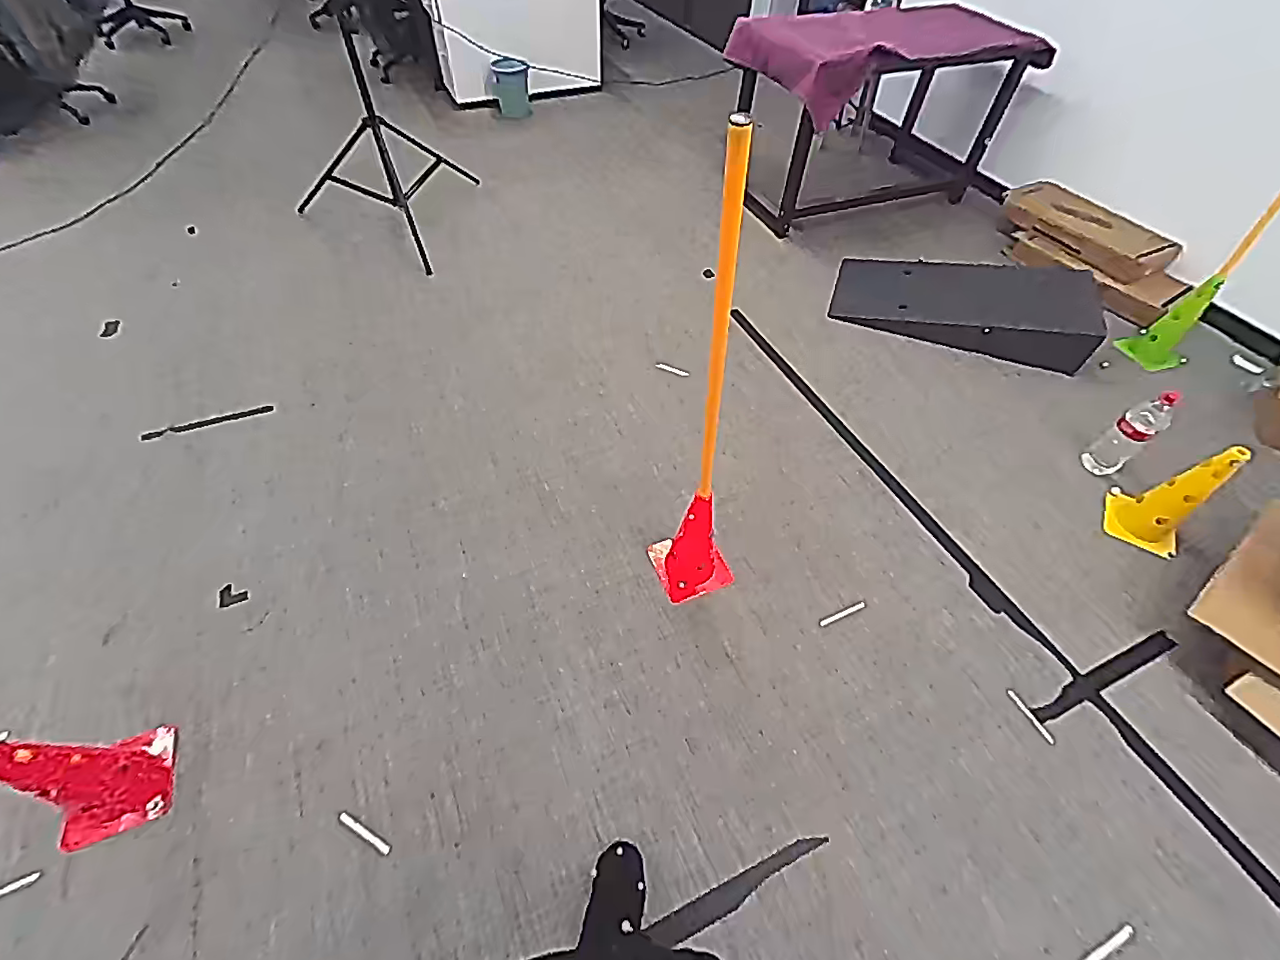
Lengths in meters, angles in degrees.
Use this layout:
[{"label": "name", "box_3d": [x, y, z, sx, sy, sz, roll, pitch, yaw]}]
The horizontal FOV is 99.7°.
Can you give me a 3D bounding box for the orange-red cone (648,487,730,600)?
[{"label": "orange-red cone", "box_3d": [0.147, 0.135, 1.427, 0.199, 0.360, 0.198, -16, 55, -15]}]
